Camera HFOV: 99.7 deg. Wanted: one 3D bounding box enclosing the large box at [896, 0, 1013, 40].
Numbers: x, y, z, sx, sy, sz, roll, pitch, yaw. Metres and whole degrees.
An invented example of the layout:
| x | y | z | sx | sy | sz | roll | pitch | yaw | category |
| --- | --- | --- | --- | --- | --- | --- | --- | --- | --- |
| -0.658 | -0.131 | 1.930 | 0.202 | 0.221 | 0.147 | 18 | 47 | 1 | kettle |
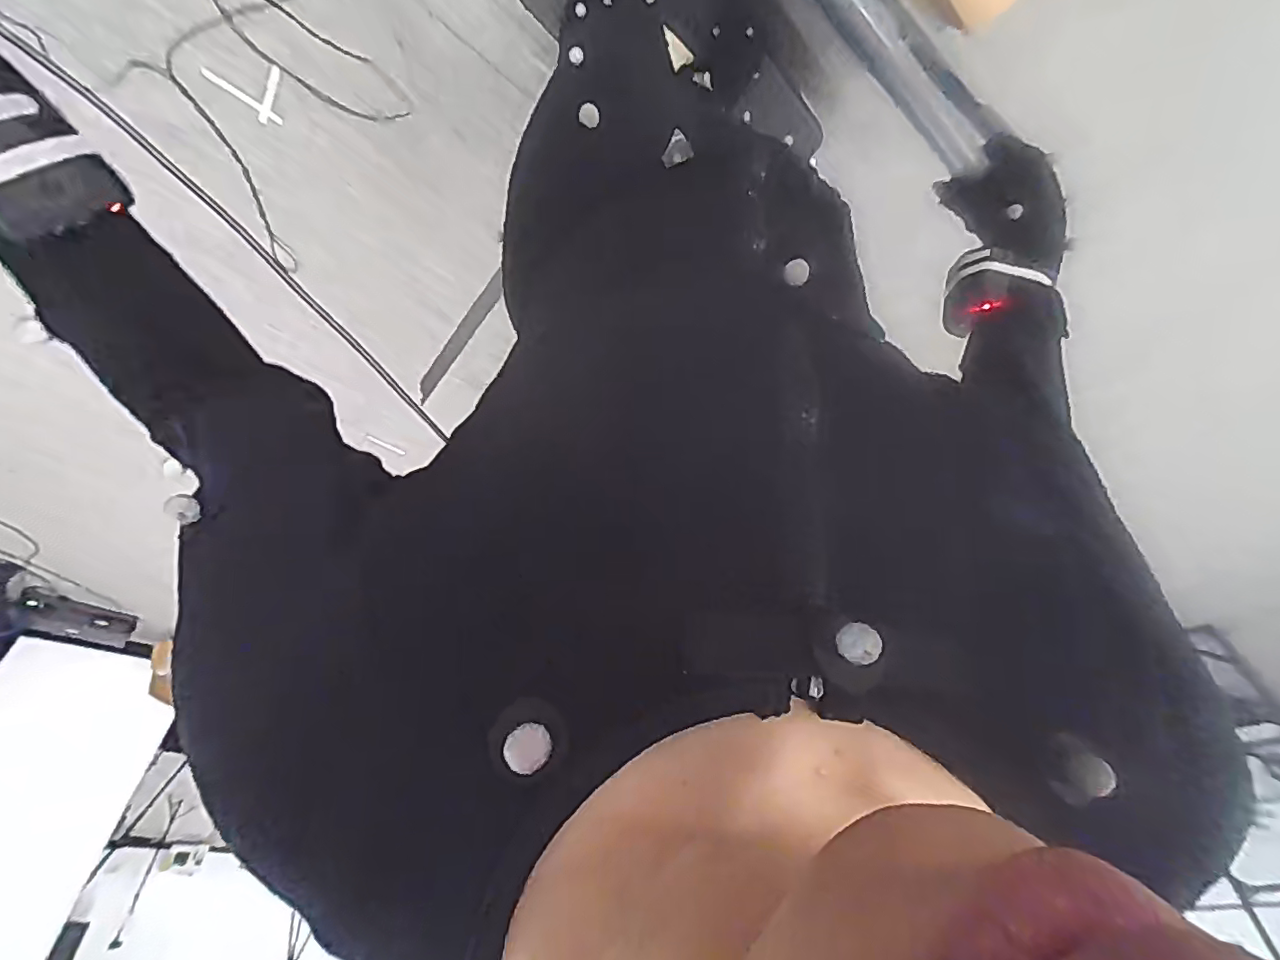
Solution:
| x | y | z | sx | sy | sz | roll | pitch | yaw | category |
| --- | --- | --- | --- | --- | --- | --- | --- | --- | --- |
| 0.381 | -0.866 | 0.654 | 0.408 | 0.320 | 0.320 | 25 | 134 | -29 | large box |
